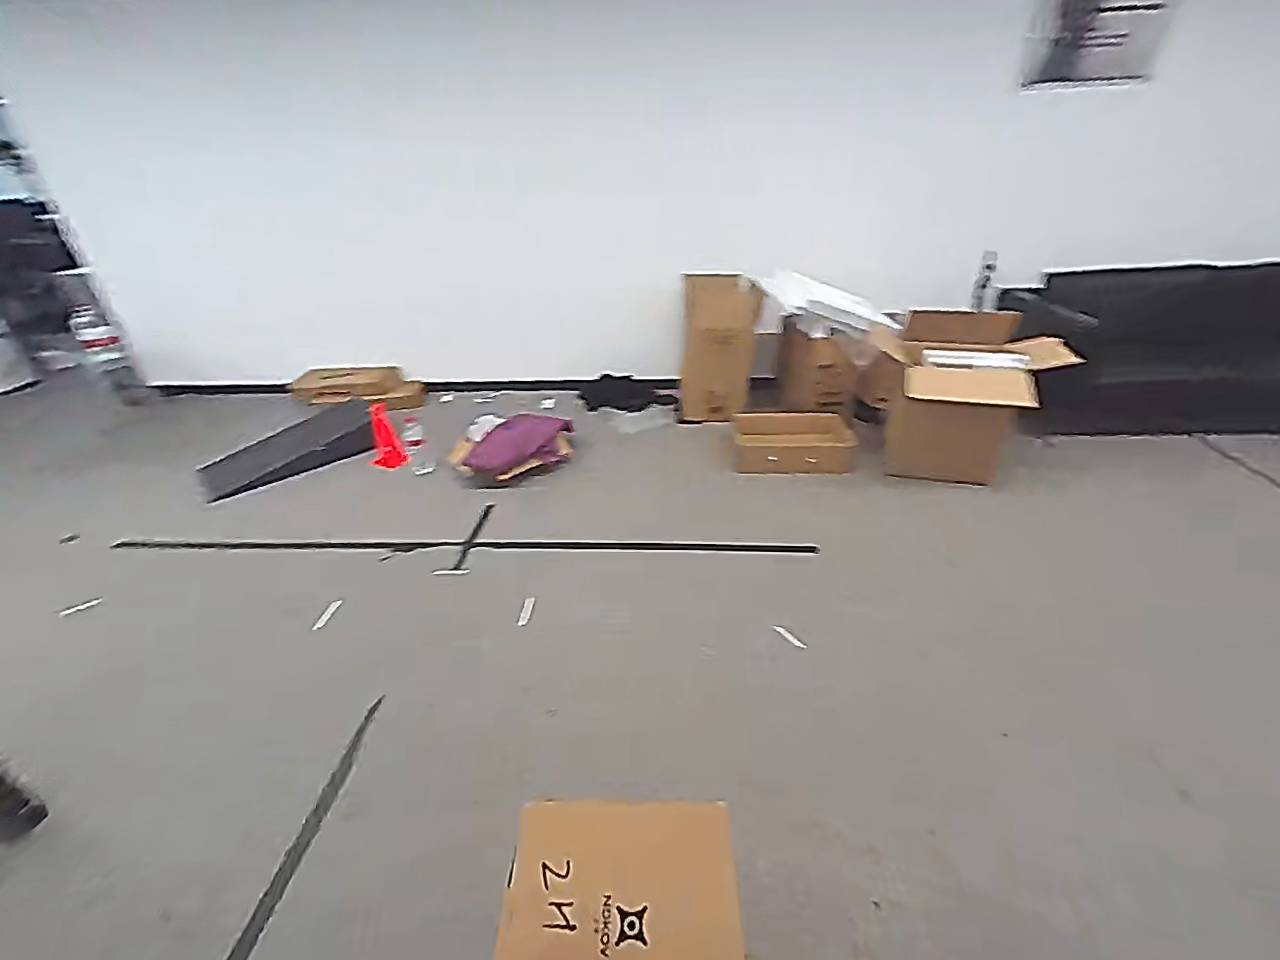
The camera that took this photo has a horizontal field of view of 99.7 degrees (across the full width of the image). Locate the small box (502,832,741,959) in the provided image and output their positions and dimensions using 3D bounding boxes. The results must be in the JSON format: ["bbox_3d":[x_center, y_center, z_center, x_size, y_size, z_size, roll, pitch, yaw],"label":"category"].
[{"bbox_3d":[-0.011,0.410,0.437,0.179,0.176,0.168,-2,36,2],"label":"small box"}]
